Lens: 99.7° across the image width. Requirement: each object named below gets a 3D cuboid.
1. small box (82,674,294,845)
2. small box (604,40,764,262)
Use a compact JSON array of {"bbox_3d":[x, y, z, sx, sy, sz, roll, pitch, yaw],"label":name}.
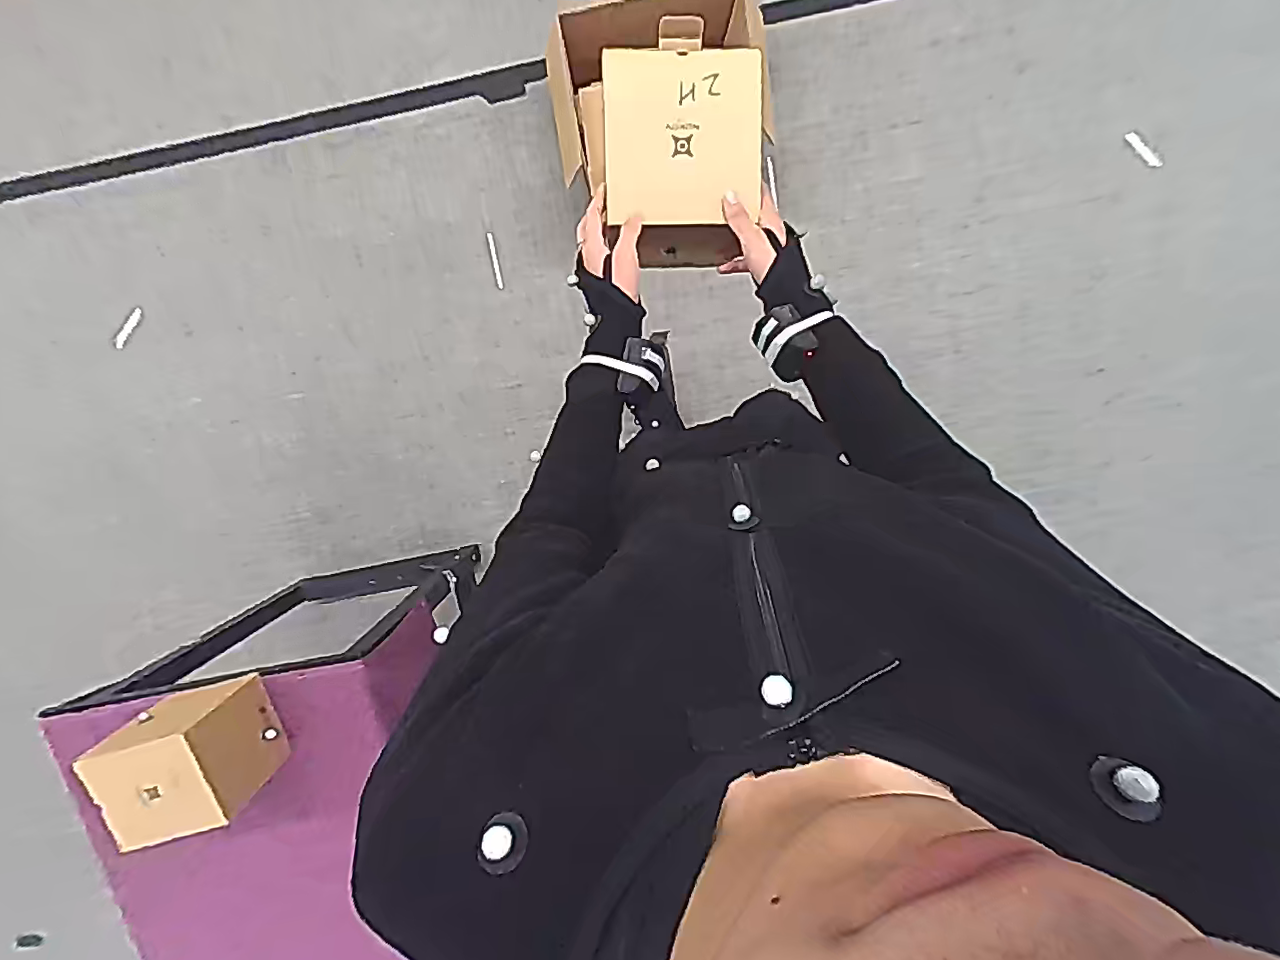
[{"bbox_3d":[-0.727,0.450,0.892,0.179,0.176,0.168,-15,102,3],"label":"small box"},{"bbox_3d":[0.041,-0.367,0.638,0.168,0.176,0.179,-1,96,-4],"label":"small box"}]
